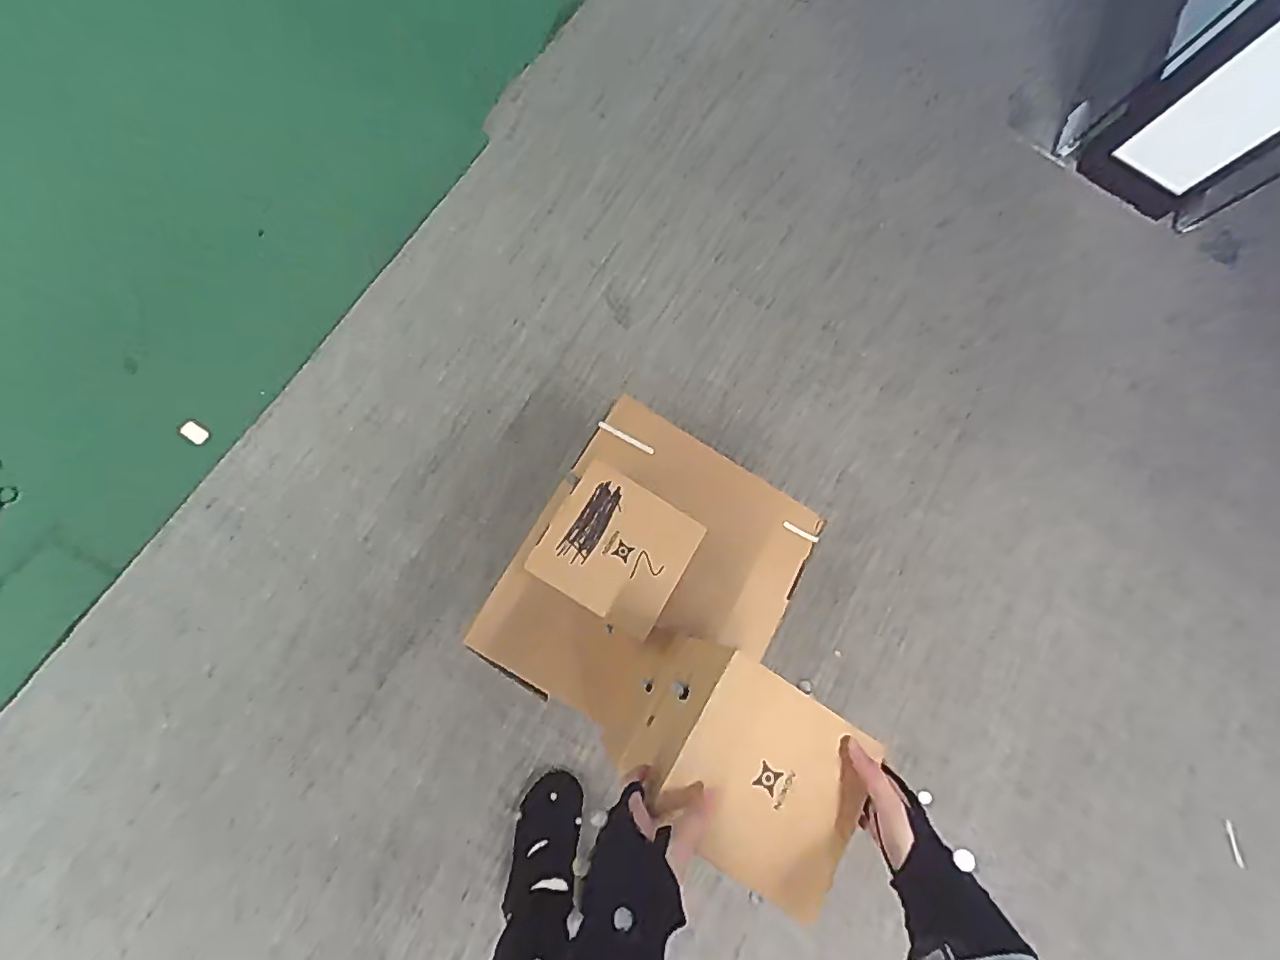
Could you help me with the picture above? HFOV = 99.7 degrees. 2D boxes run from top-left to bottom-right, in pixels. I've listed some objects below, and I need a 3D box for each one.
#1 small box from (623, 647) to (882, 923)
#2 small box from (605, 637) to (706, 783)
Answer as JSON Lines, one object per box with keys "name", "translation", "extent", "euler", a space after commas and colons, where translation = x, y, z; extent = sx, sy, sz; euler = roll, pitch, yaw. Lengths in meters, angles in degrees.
{"name": "small box", "translation": [0.101, 0.288, 0.560], "extent": [0.179, 0.176, 0.168], "euler": [34, 73, -3]}
{"name": "small box", "translation": [0.067, 0.325, 0.715], "extent": [0.168, 0.176, 0.179], "euler": [33, 73, -2]}
